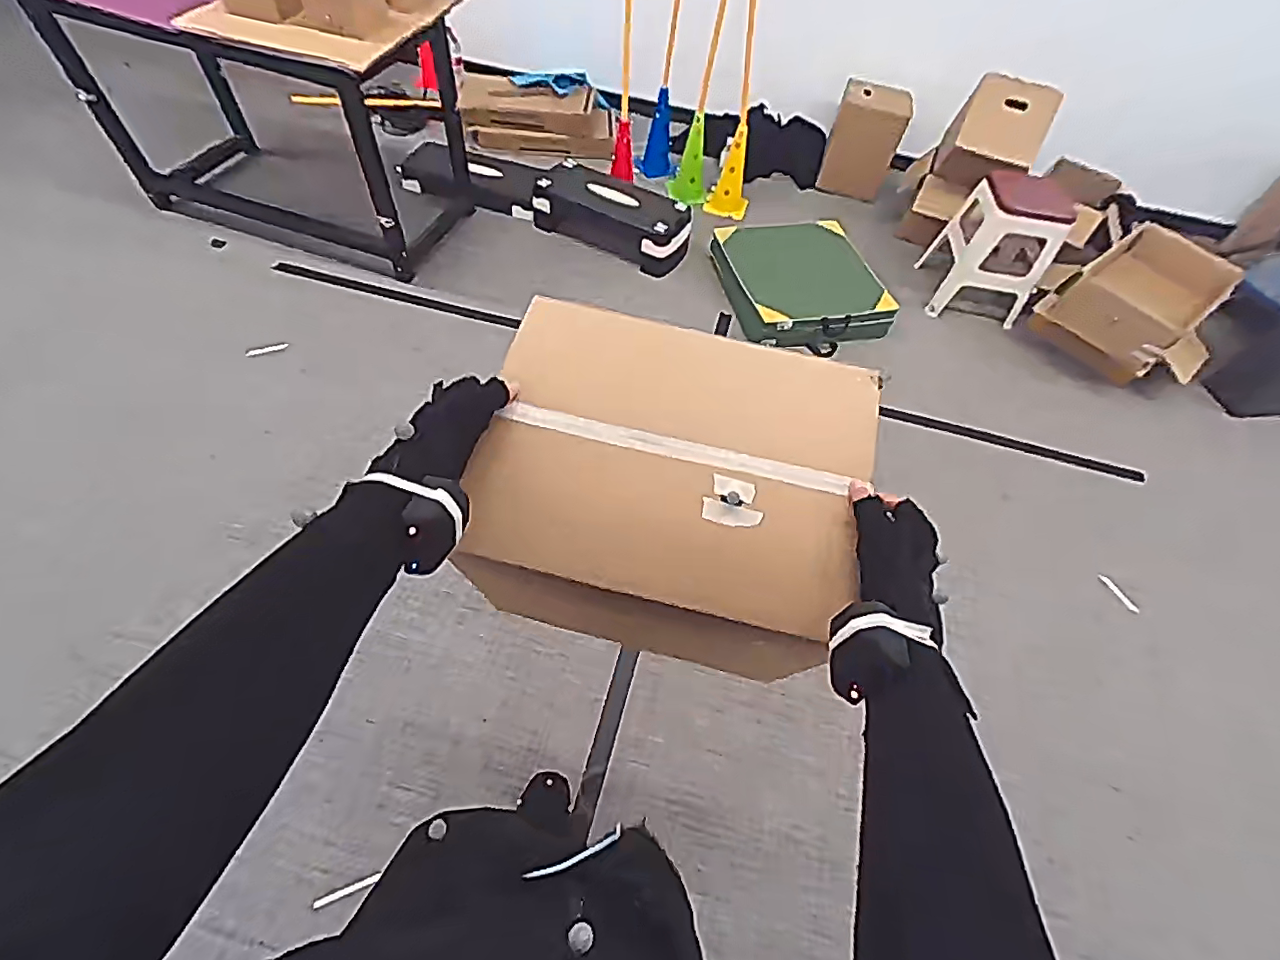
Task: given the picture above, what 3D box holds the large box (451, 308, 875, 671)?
[{"bbox_3d":[0.034,0.033,0.705,0.408,0.320,0.320,14,67,4],"label":"large box"}]
